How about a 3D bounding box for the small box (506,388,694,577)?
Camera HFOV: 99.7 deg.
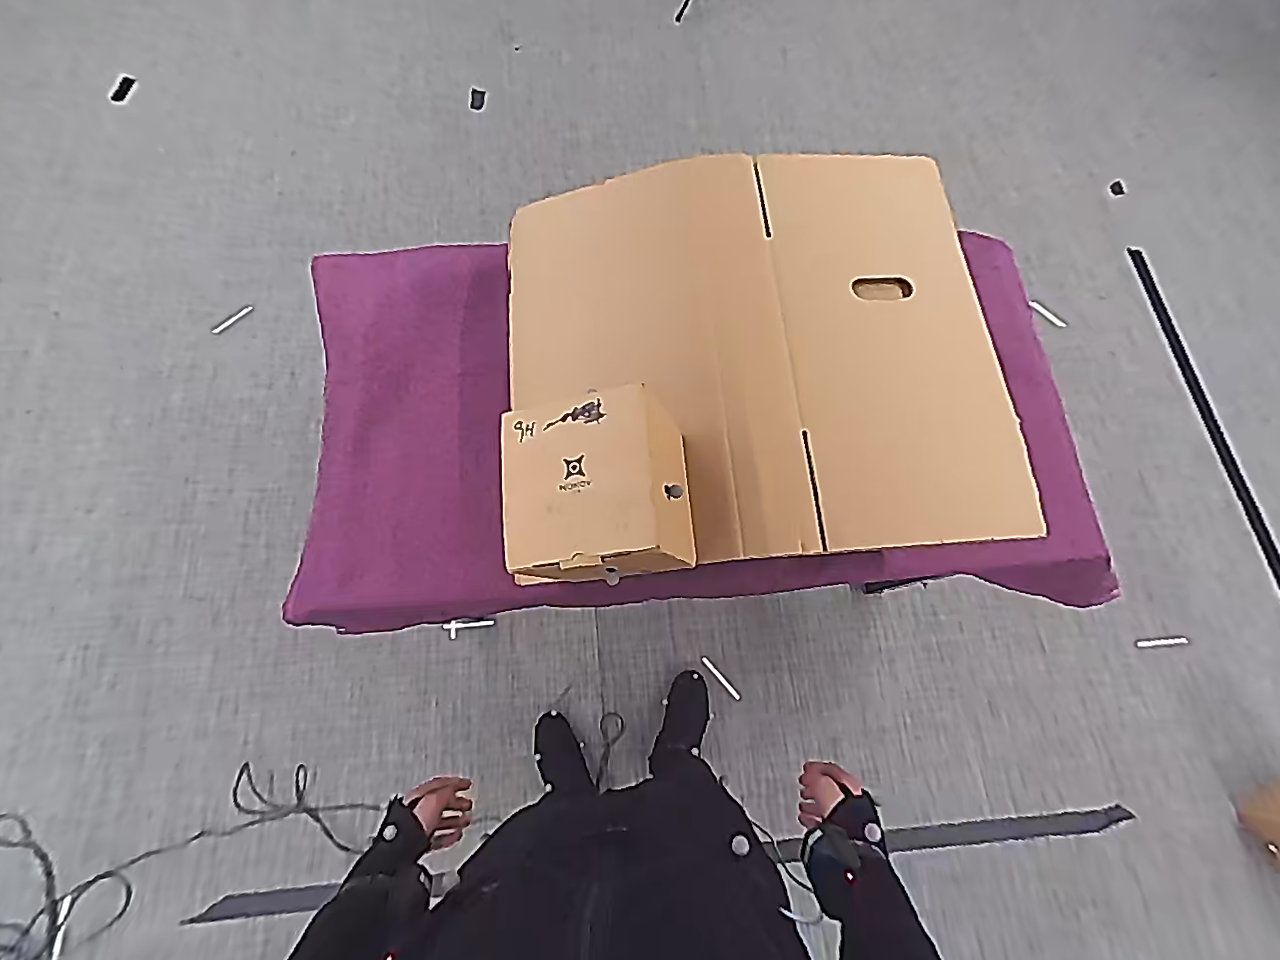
[{"bbox_3d":[-0.039,0.018,0.628,0.168,0.176,0.179,-10,74,16],"label":"small box"}]
